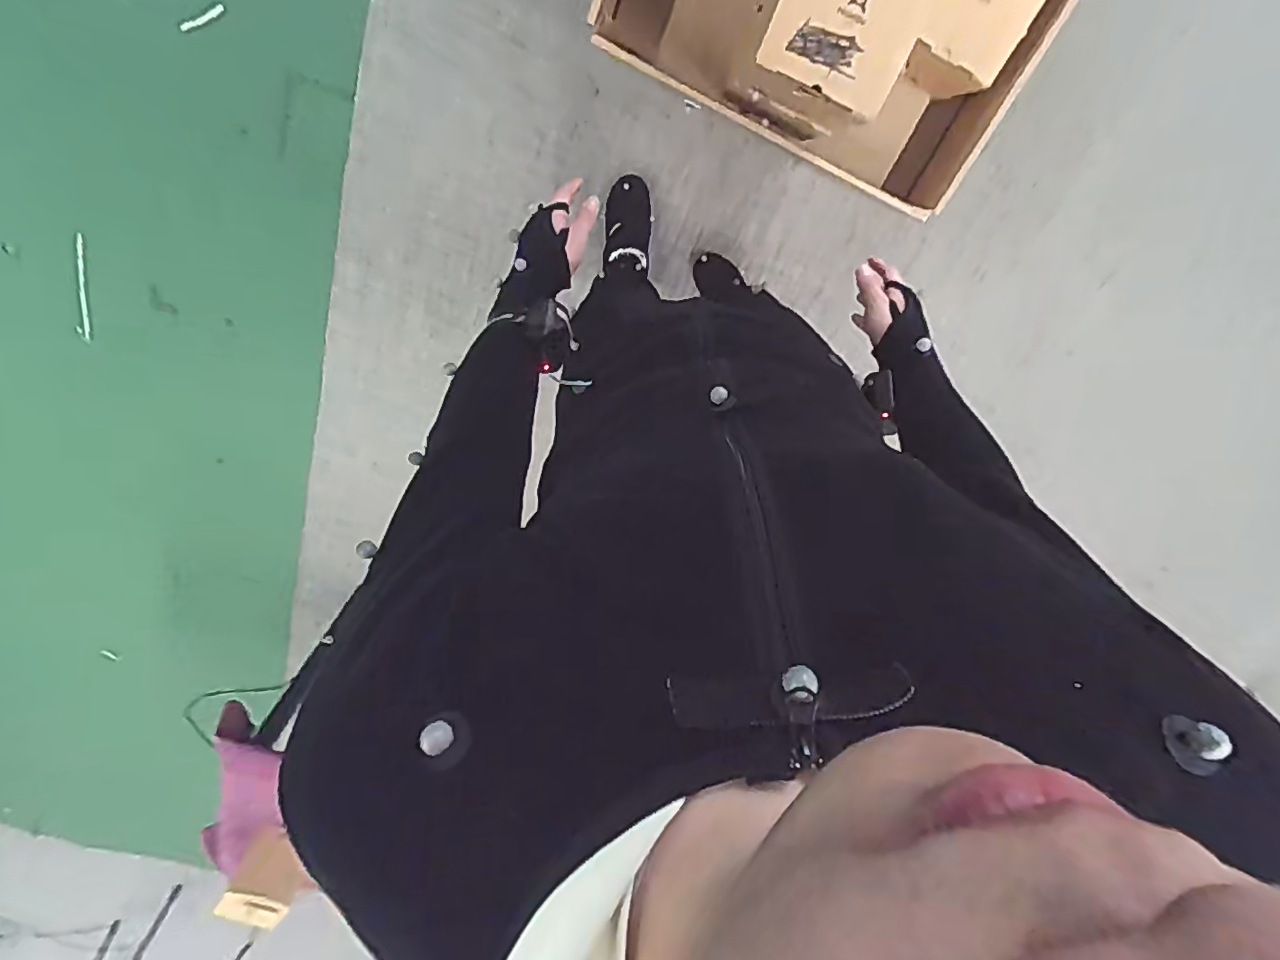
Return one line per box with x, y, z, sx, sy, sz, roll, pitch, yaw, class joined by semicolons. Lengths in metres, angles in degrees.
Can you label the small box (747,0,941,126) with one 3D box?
0.246;-0.570;0.673;0.168;0.176;0.179;20;118;-10;small box
